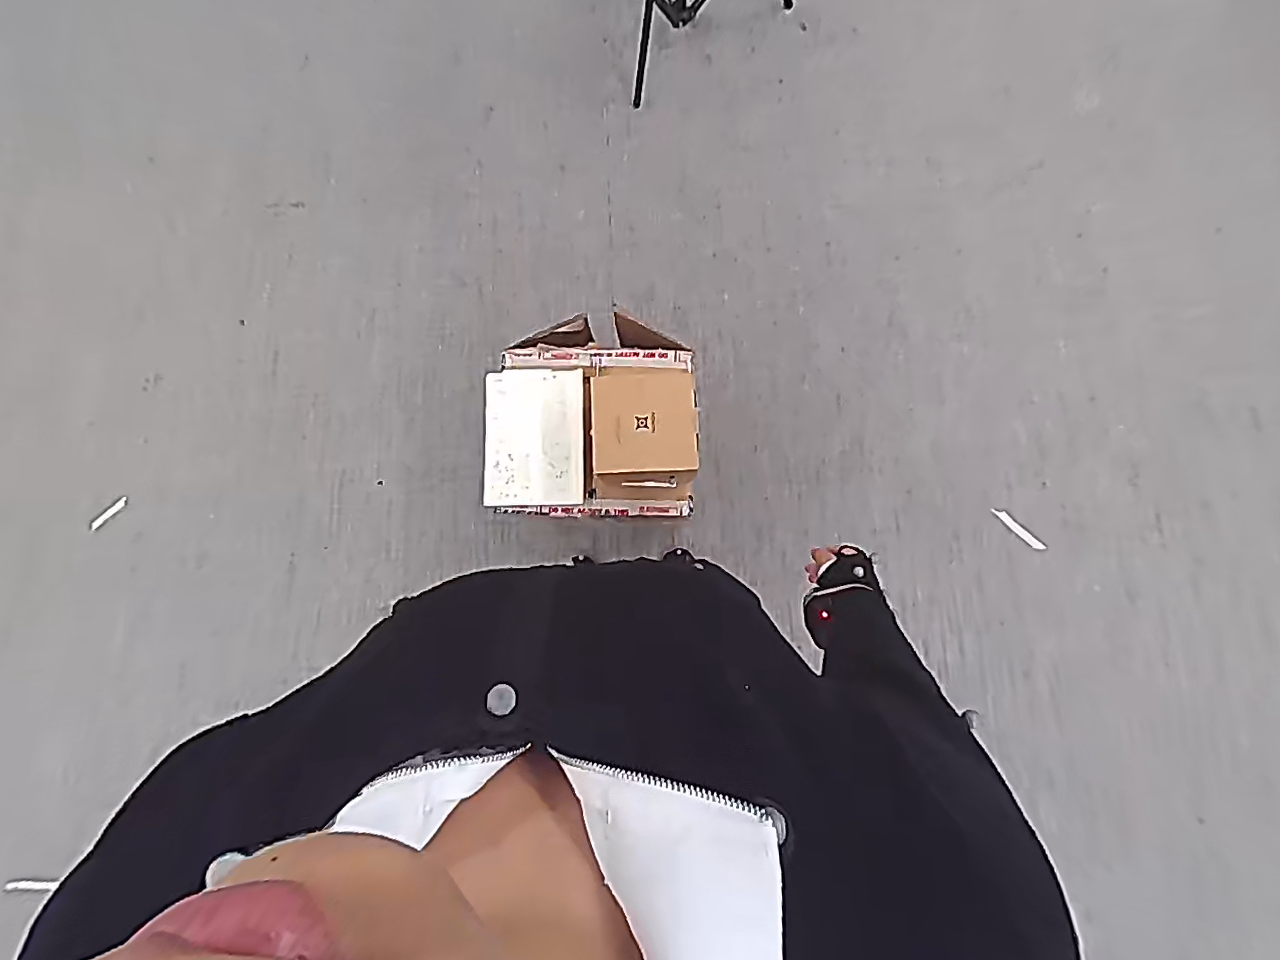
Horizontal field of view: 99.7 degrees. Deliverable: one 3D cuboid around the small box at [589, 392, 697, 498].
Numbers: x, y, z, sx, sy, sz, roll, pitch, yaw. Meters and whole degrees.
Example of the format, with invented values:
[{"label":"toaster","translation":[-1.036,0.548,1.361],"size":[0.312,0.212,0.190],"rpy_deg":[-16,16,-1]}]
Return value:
[{"label":"small box","translation":[0.005,-0.056,0.982],"size":[0.179,0.176,0.168],"rpy_deg":[-3,83,2]}]
